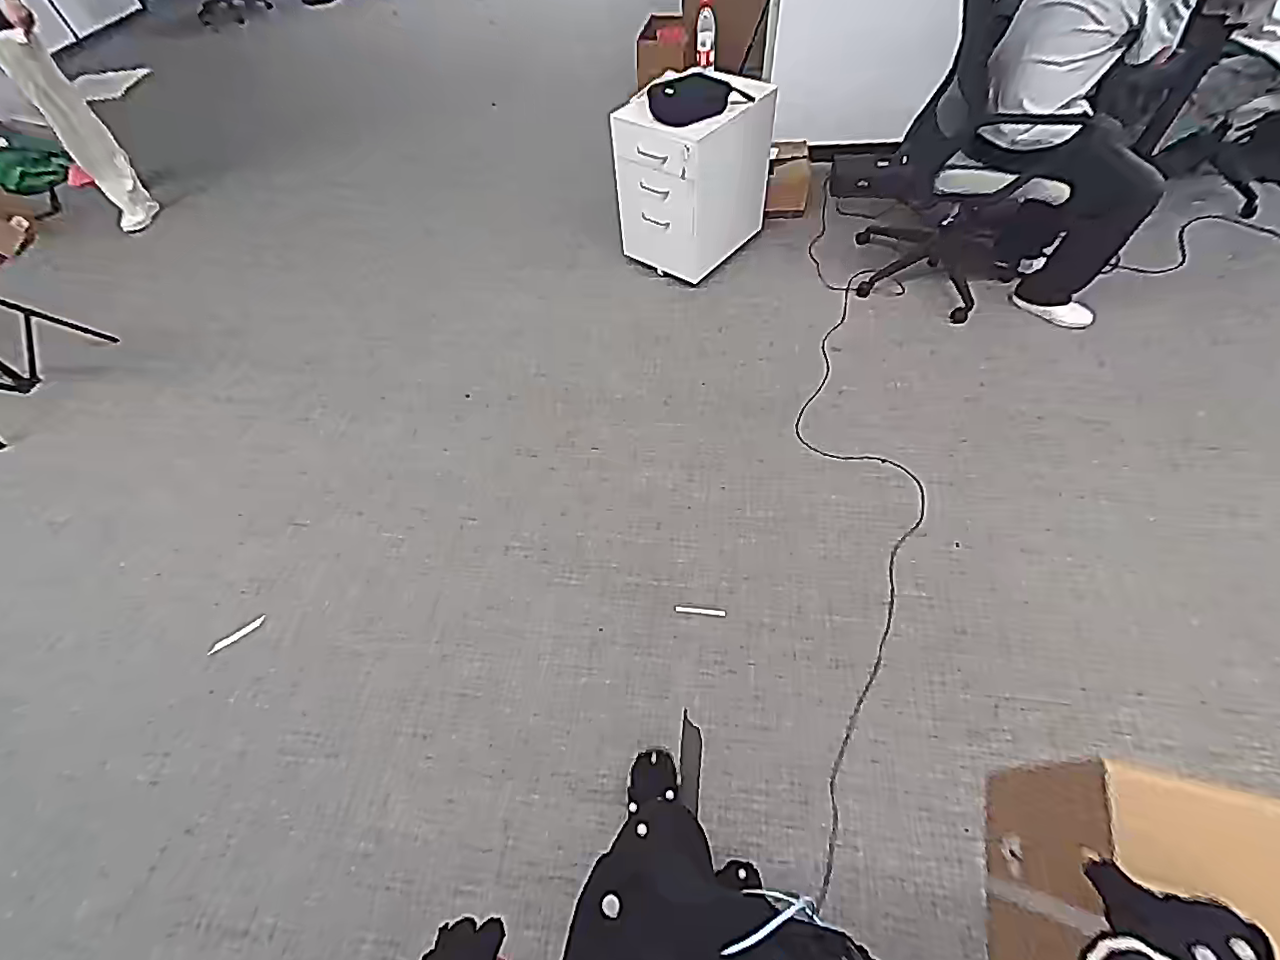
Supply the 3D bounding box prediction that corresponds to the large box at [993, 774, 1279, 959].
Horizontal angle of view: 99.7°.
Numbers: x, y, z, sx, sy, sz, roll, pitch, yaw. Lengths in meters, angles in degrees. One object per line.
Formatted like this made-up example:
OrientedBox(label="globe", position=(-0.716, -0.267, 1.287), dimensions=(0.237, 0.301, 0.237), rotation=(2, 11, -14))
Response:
OrientedBox(label="large box", position=(0.631, 0.559, 0.604), dimensions=(0.320, 0.408, 0.320), rotation=(9, 62, 23))
